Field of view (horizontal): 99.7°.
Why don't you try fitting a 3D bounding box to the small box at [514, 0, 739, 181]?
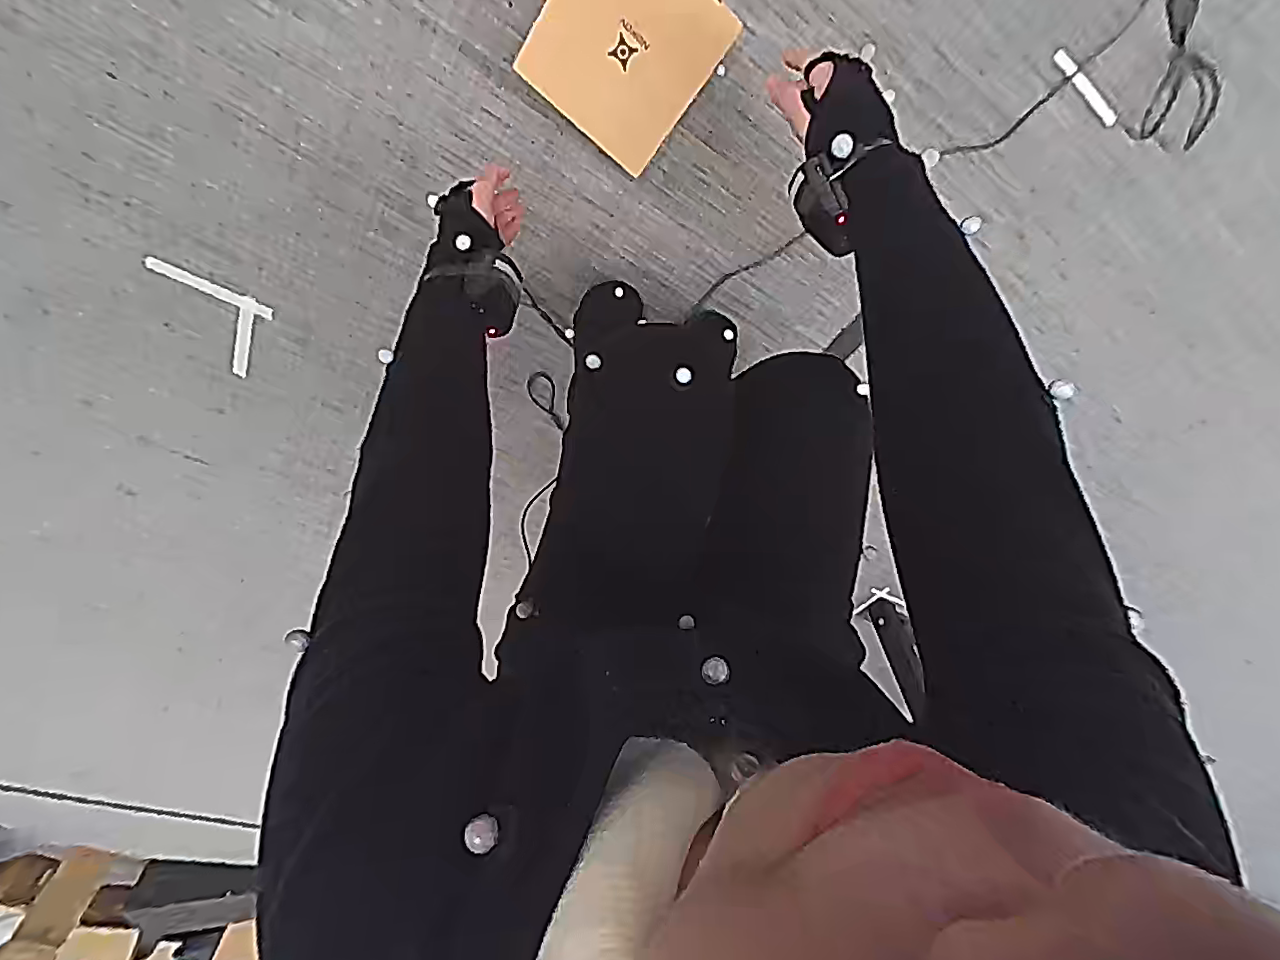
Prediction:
[{"bbox_3d":[-0.014,-0.481,0.606,0.168,0.176,0.179,31,122,-24],"label":"small box"}]
